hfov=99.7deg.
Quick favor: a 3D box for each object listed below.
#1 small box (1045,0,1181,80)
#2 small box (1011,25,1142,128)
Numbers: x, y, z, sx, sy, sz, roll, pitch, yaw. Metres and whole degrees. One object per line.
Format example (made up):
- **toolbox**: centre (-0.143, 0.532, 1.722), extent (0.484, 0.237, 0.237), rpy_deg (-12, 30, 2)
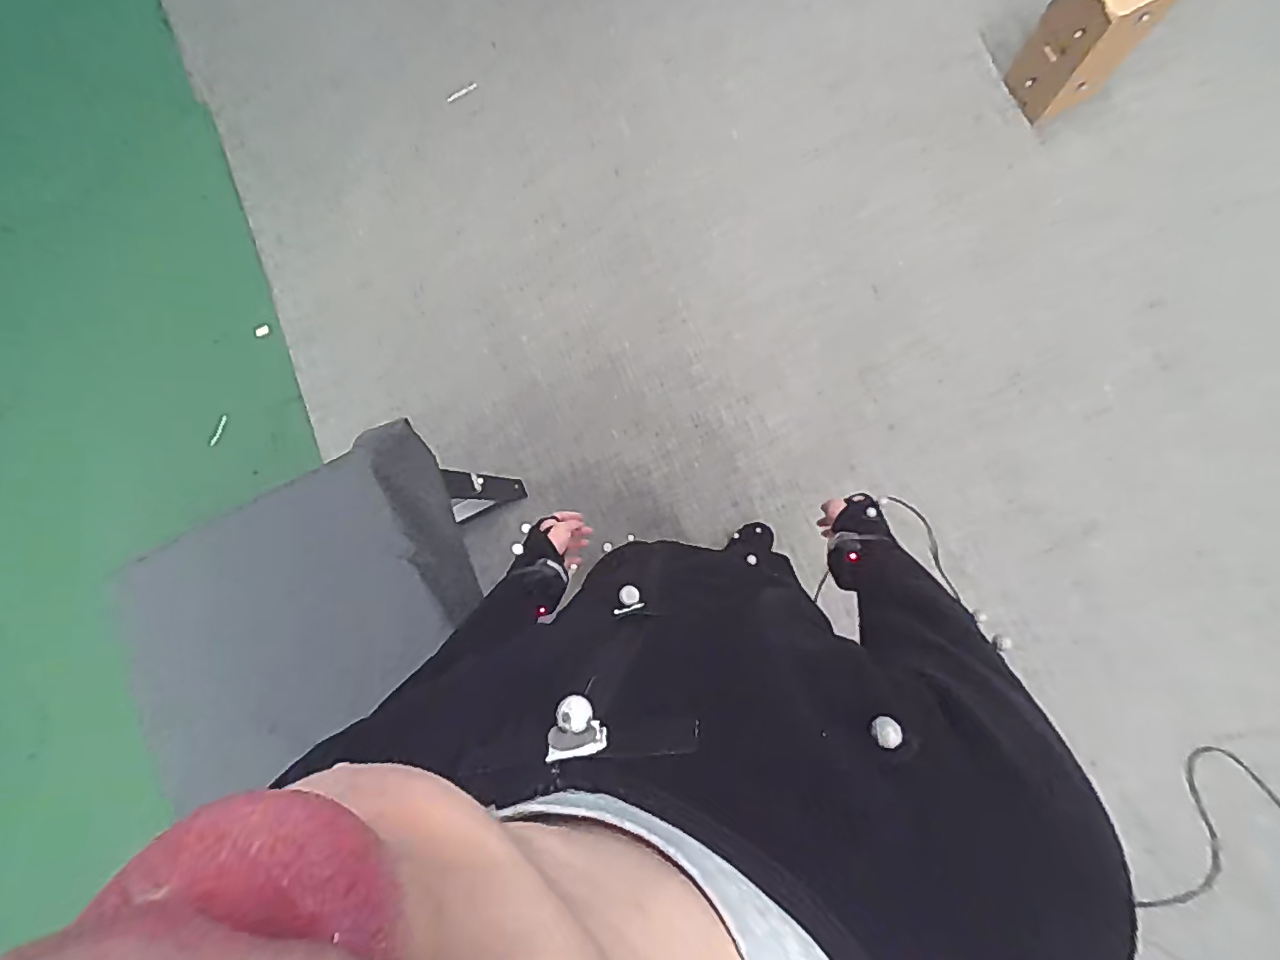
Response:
- **small box**: centre (1.054, -1.053, 1.204), extent (0.179, 0.176, 0.168), rpy_deg (-24, 83, 7)
- **small box**: centre (1.082, -1.043, 1.364), extent (0.179, 0.176, 0.168), rpy_deg (-25, 82, 8)
